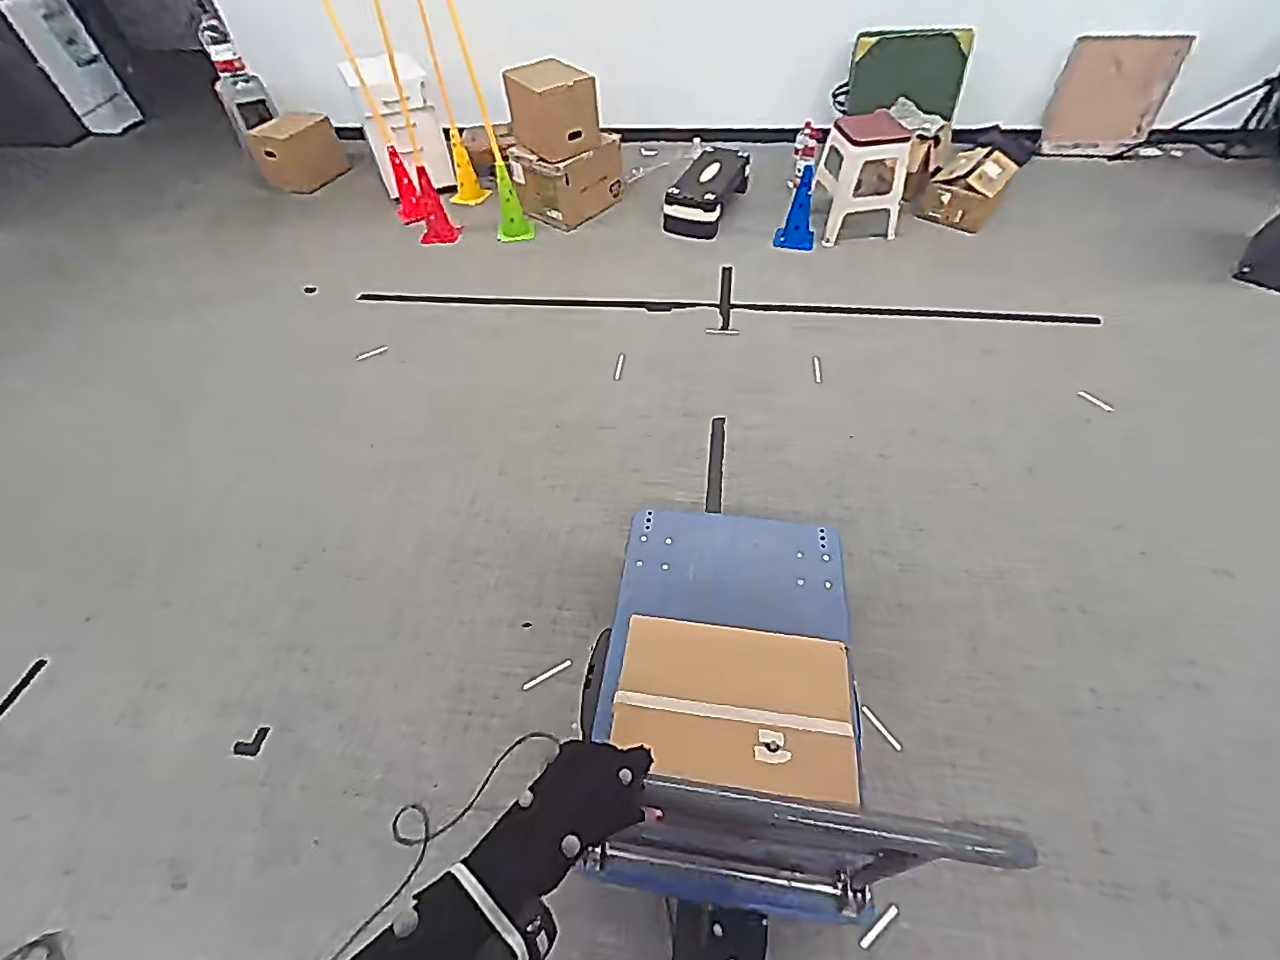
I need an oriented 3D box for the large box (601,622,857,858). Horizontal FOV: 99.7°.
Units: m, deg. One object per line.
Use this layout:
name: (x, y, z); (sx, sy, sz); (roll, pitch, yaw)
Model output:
large box: (0.152, 0.501, 1.038); (0.408, 0.320, 0.320); (7, 53, 6)
